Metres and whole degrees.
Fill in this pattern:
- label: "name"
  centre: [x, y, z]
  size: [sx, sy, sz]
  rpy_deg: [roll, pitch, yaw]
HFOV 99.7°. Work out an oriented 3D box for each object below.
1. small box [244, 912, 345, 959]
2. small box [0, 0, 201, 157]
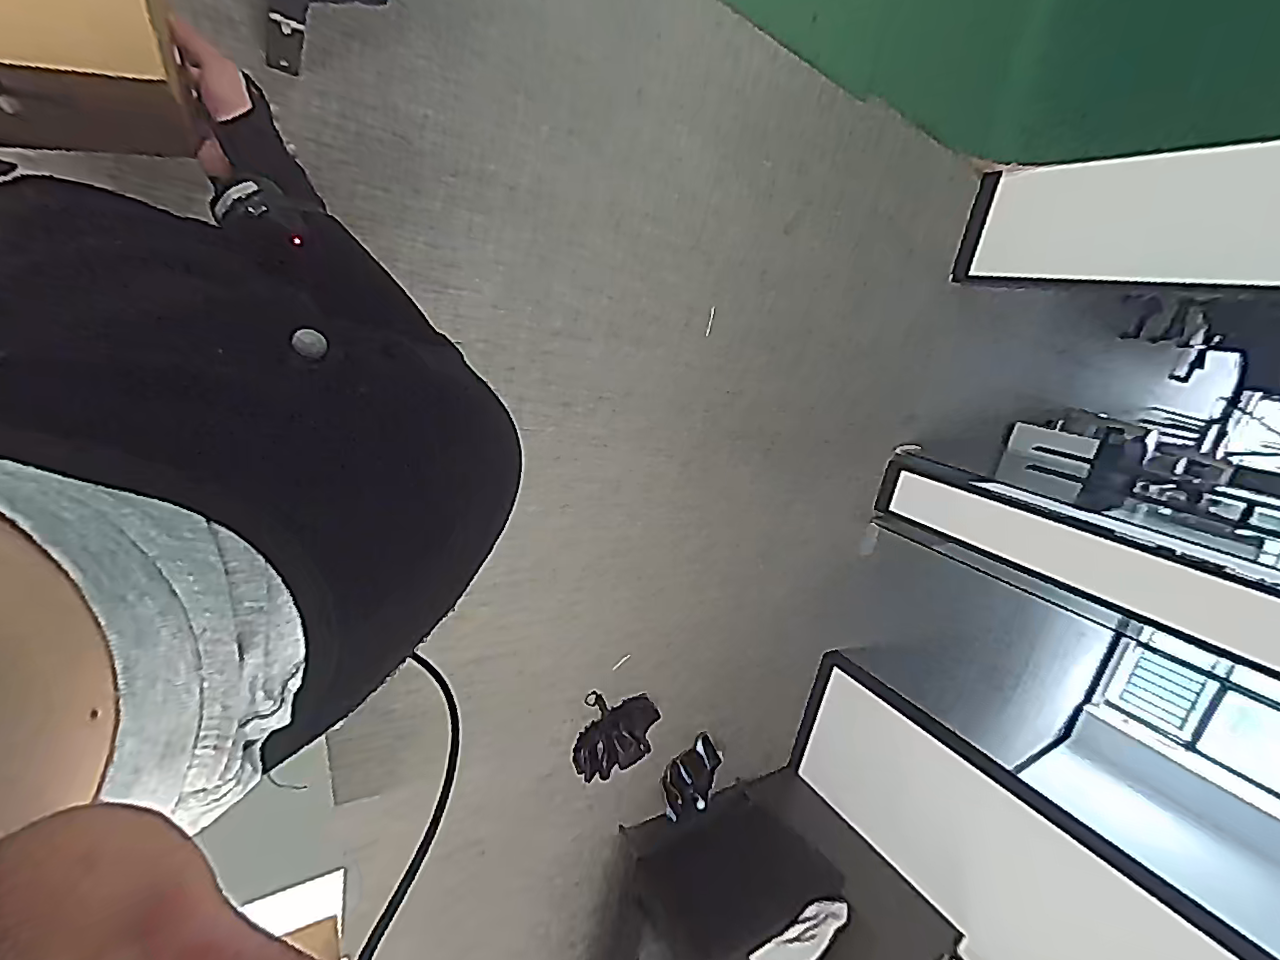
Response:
- label: "small box"
  centre: [-0.699, 1.039, 1.089]
  size: [0.179, 0.176, 0.168]
  rpy_deg: [-2, 111, -35]
- label: "small box"
  centre: [-0.440, -0.341, 0.370]
  size: [0.179, 0.176, 0.168]
  rpy_deg: [-14, 108, -29]
